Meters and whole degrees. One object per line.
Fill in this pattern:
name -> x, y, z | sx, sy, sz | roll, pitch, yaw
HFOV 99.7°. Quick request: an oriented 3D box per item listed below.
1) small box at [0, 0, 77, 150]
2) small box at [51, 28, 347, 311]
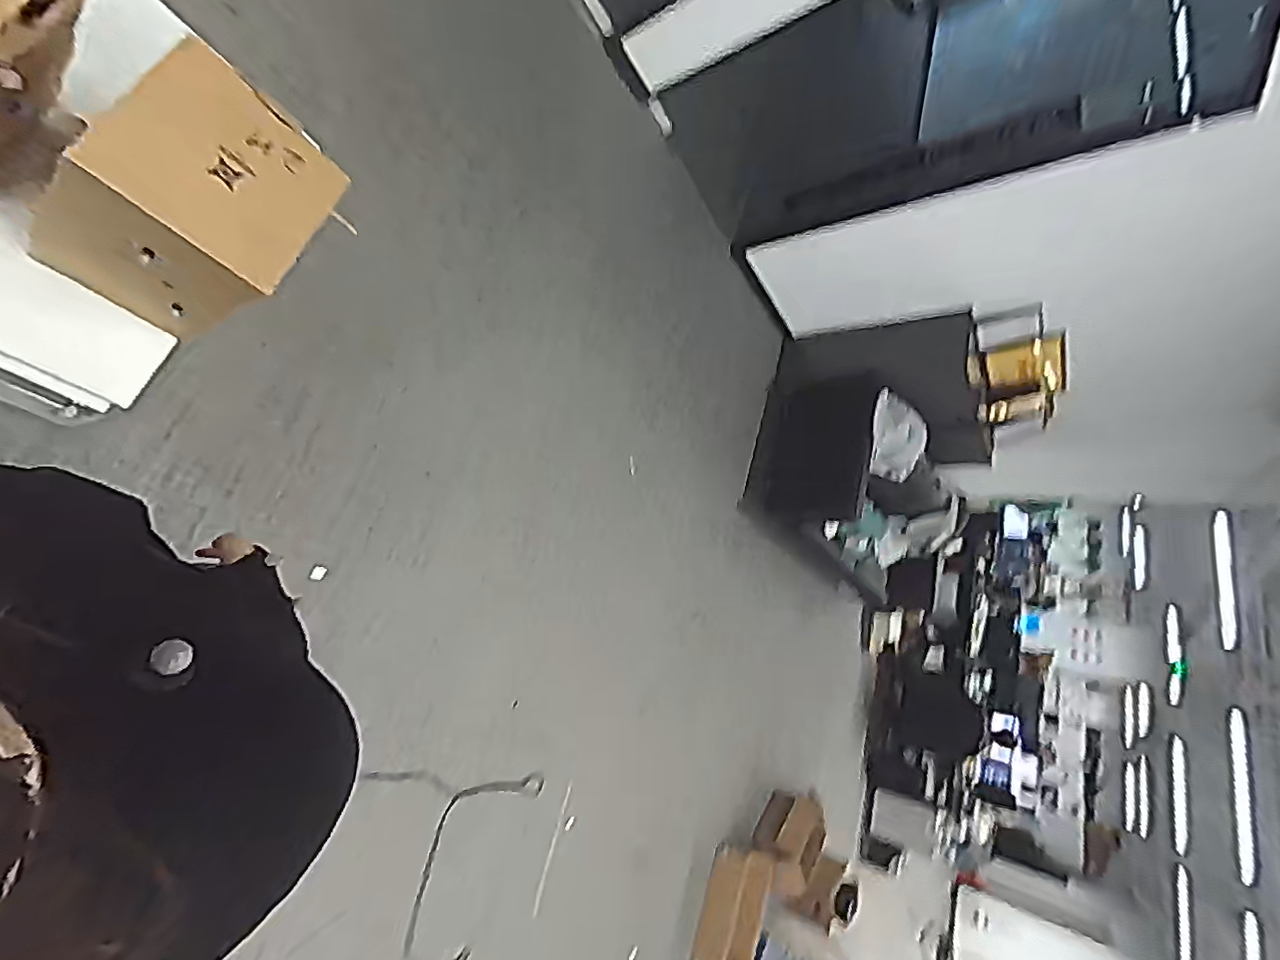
small box -> -0.709, -0.431, 0.513 | 0.179, 0.176, 0.168 | 40, 61, -47
small box -> -0.459, -0.304, 0.569 | 0.168, 0.176, 0.179 | 42, 59, -45
